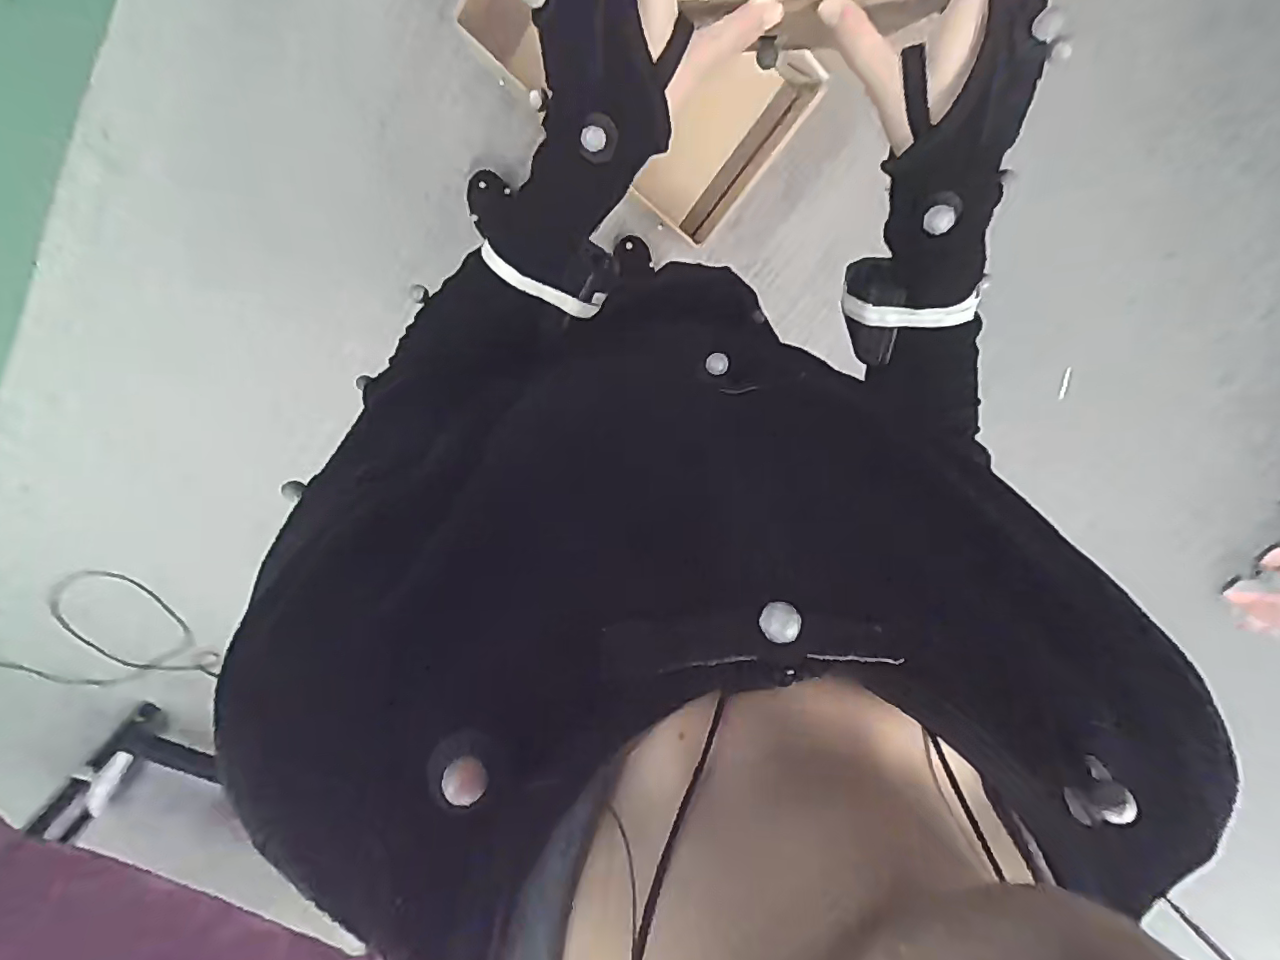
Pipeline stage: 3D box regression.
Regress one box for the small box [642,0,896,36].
[{"bbox_3d":[0.079,-0.374,0.300,0.168,0.176,0.179,0,121,2],"label":"small box"}]
